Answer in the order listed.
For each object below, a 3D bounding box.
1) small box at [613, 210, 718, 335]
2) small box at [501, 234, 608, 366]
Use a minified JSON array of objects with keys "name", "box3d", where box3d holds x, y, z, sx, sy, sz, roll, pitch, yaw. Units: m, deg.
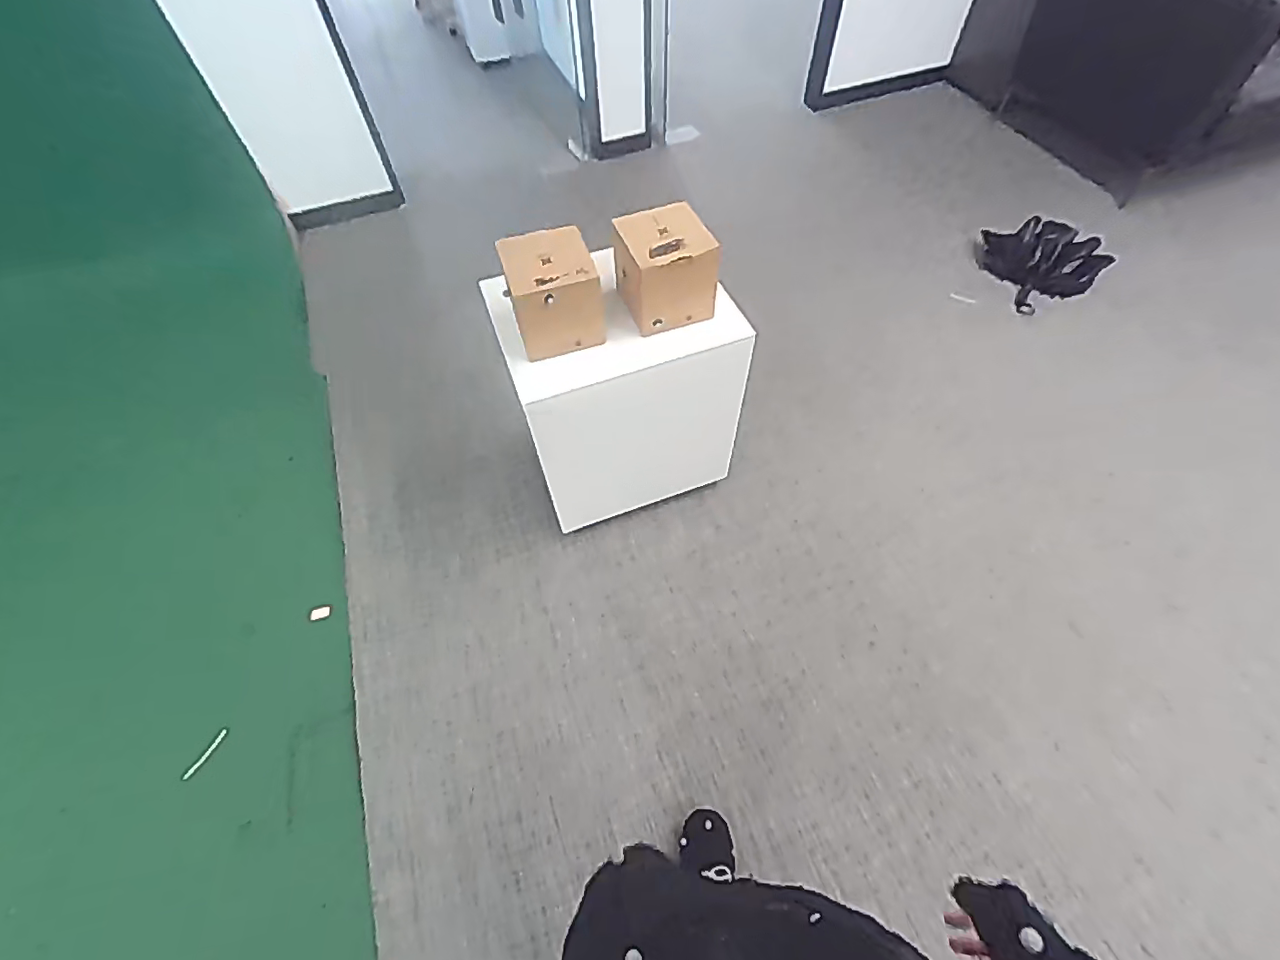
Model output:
[{"name":"small box","box3d":[0.052,-0.424,1.131,0.168,0.176,0.179,-18,57,-9]},{"name":"small box","box3d":[-0.171,-0.364,1.101,0.168,0.176,0.179,-17,57,-8]}]
